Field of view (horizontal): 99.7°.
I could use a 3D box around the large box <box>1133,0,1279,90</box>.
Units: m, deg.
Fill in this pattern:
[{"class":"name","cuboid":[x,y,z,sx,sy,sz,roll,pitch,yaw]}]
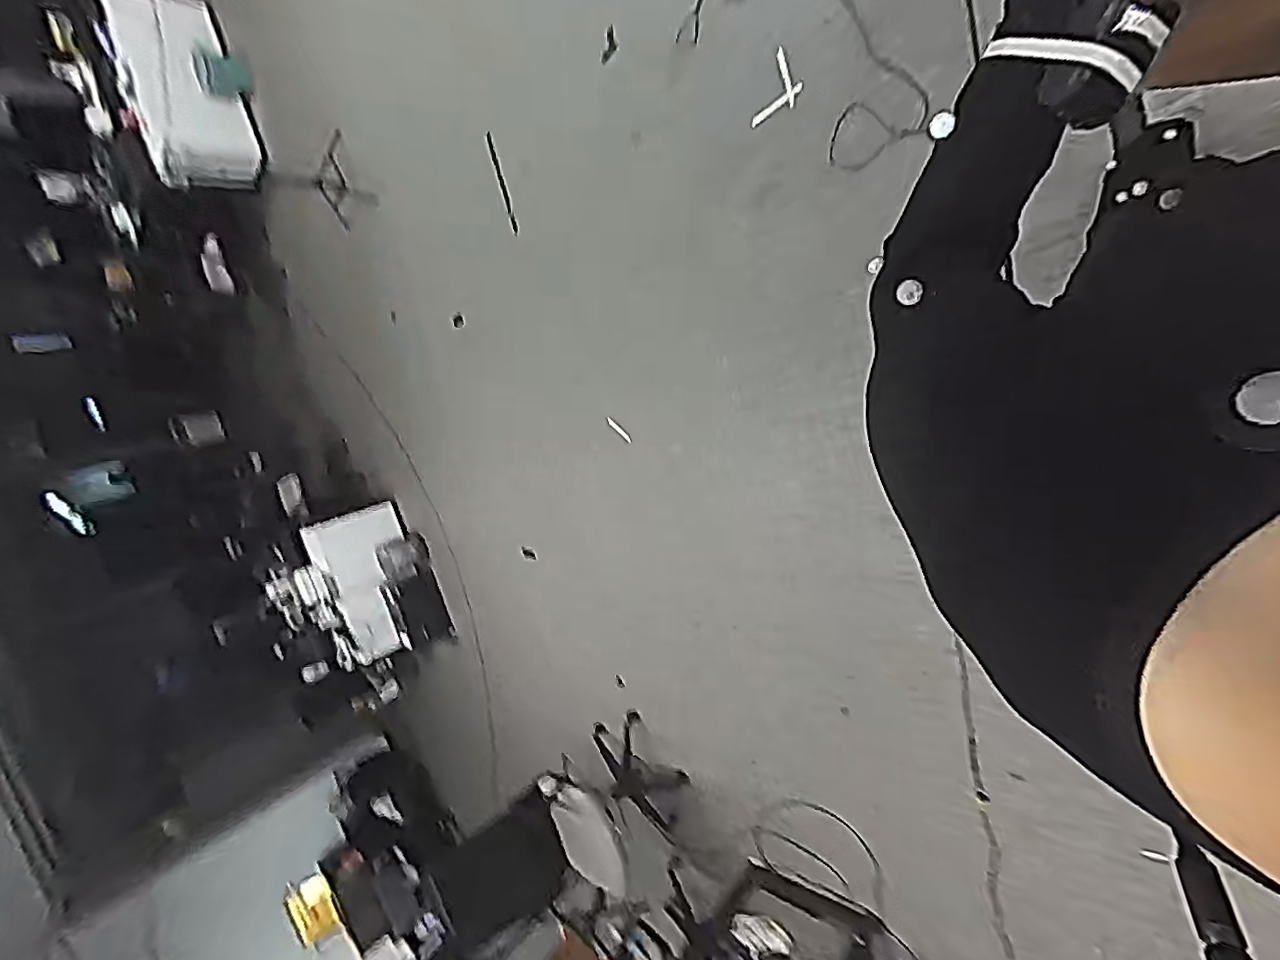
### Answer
[{"class":"large box","cuboid":[0.551,-0.444,0.262,0.408,0.320,0.320,18,116,36]}]
